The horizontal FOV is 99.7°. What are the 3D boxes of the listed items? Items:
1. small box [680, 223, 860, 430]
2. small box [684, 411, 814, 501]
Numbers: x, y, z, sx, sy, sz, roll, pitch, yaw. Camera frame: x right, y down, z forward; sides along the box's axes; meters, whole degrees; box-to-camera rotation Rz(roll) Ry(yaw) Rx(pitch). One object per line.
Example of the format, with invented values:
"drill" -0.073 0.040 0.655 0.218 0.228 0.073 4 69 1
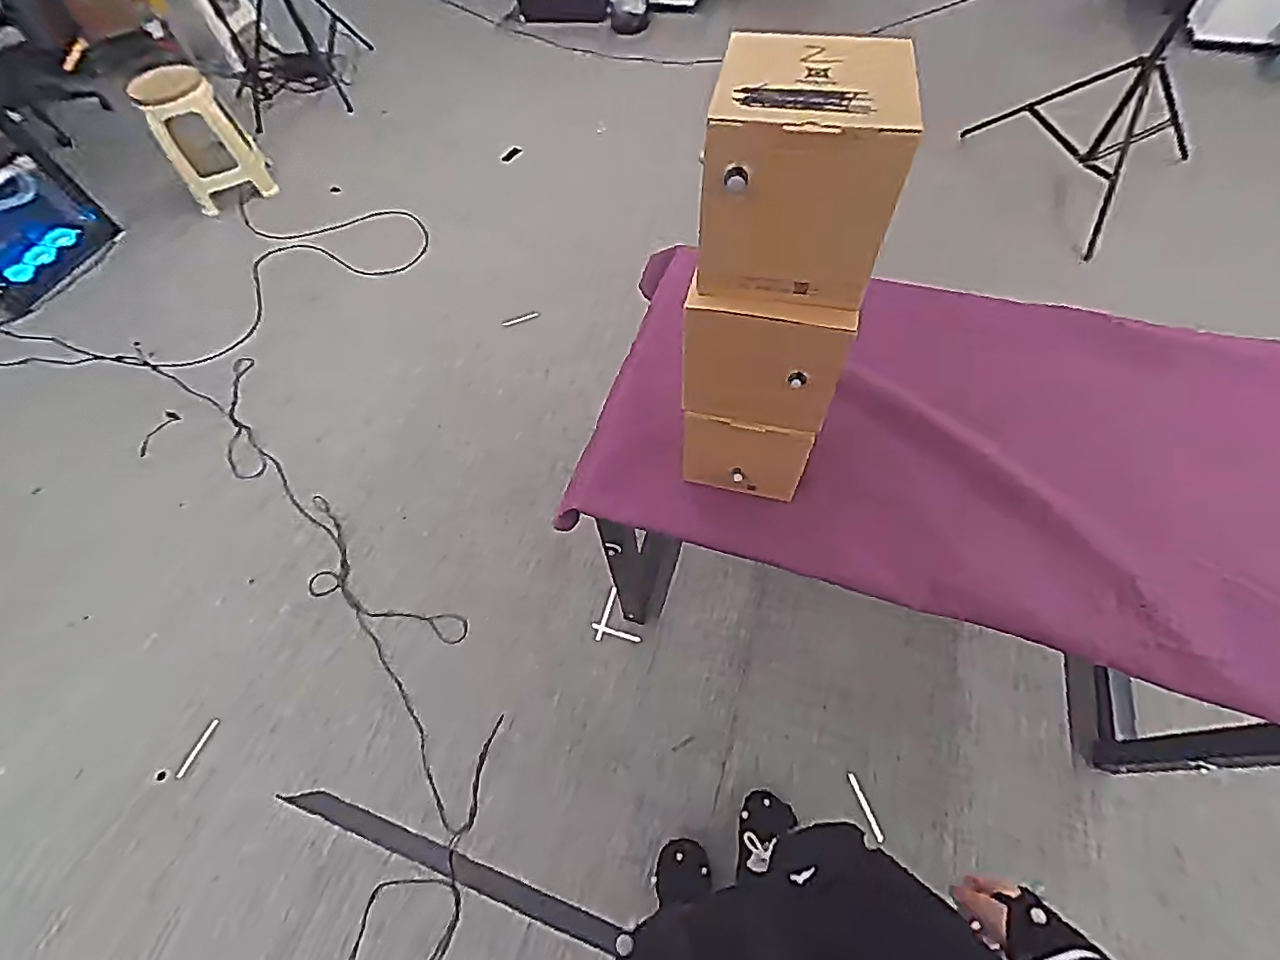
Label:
"small box" 0.151 -0.180 0.657 0.179 0.176 0.168 11 59 11
"small box" 0.160 -0.096 0.795 0.168 0.176 0.179 12 61 11
